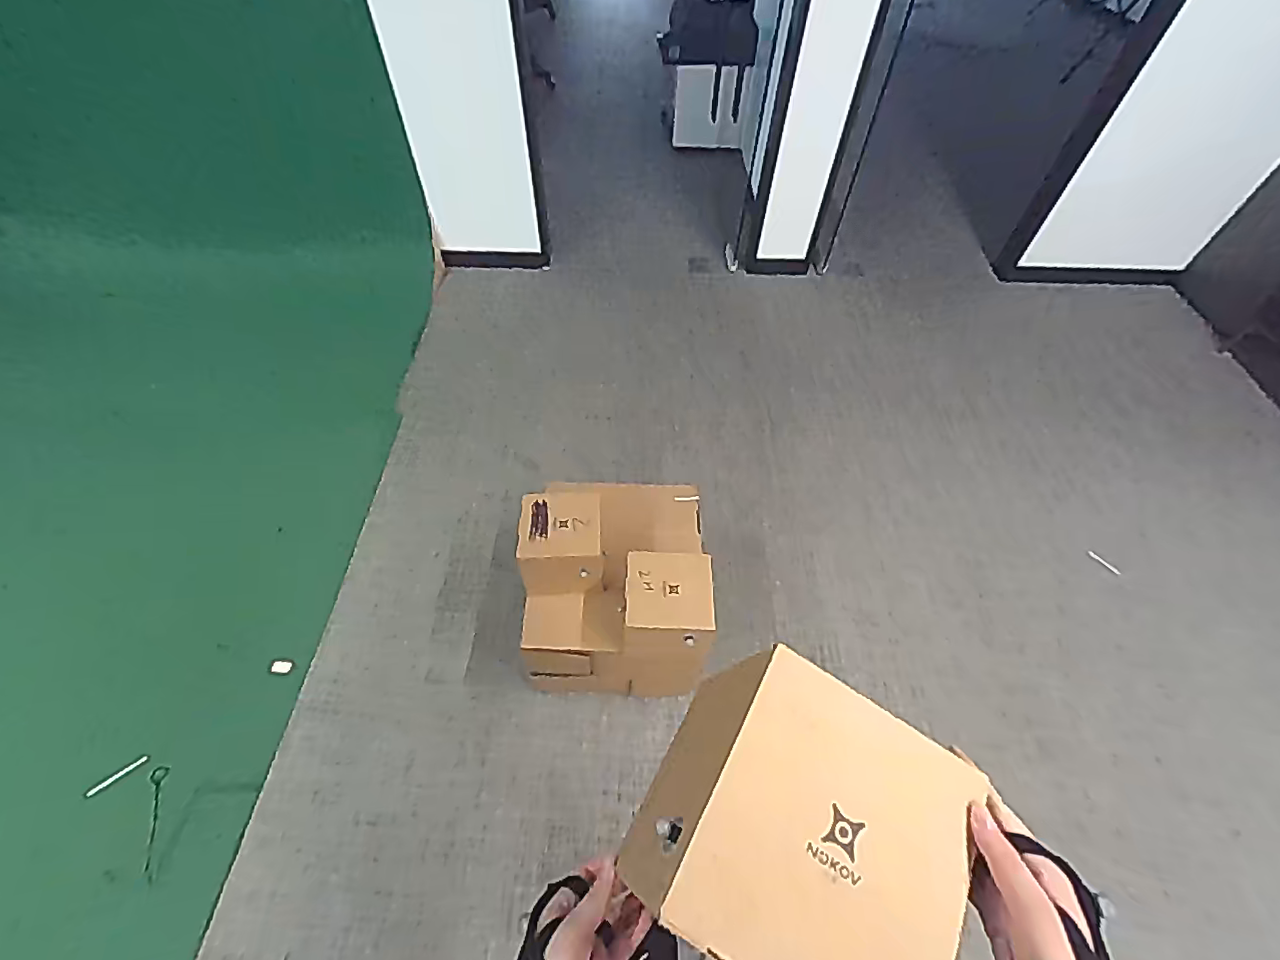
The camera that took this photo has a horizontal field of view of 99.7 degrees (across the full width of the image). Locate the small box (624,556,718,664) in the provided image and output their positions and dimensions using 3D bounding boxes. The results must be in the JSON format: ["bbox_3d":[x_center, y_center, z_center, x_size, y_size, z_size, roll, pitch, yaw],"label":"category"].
[{"bbox_3d":[0.060,0.275,1.130,0.179,0.176,0.168,3,52,-1],"label":"small box"}]
